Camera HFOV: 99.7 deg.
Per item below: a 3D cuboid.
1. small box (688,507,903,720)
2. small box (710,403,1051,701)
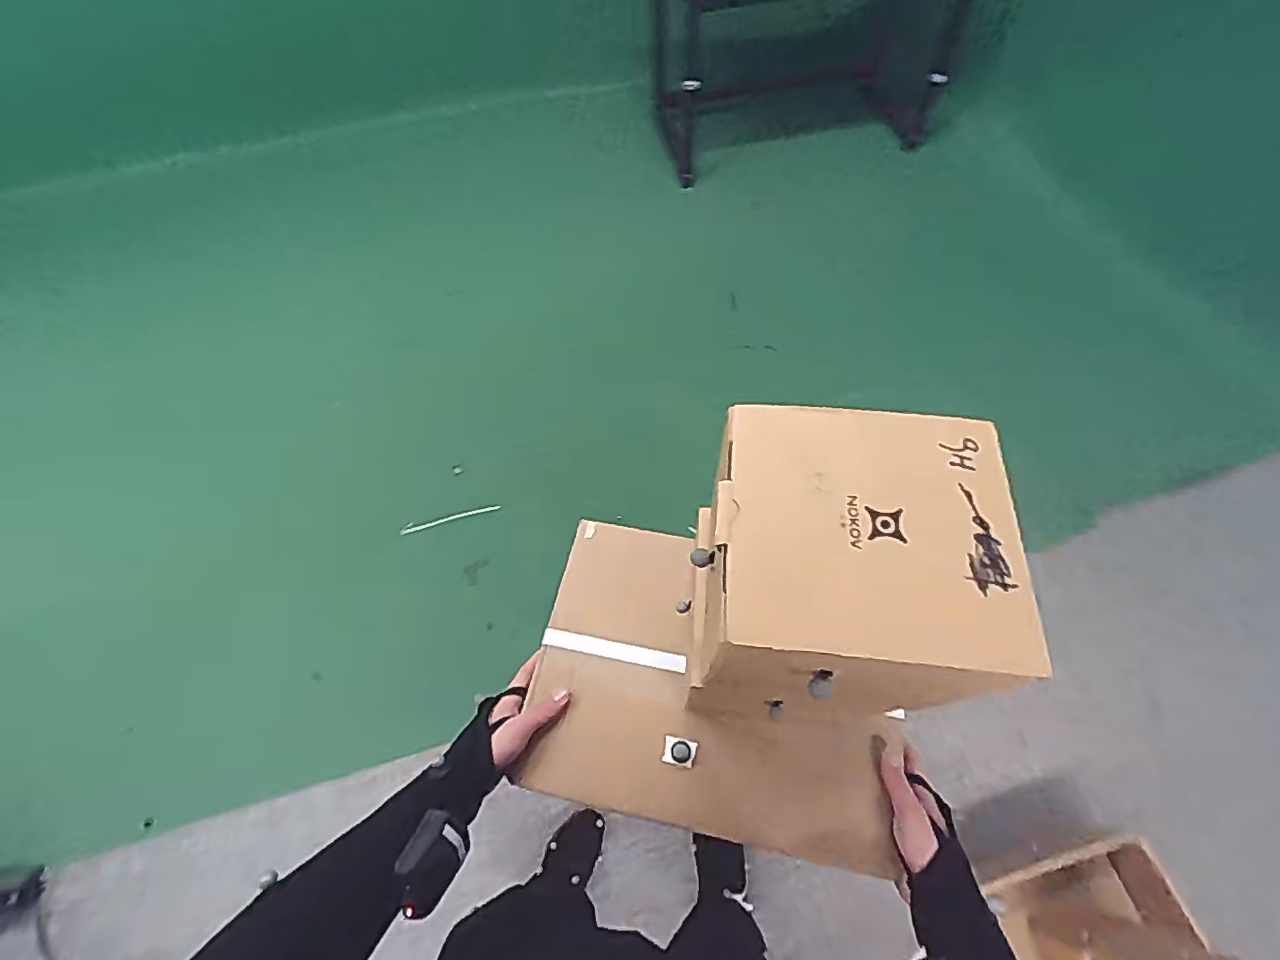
[{"bbox_3d":[0.141,0.141,0.545,0.179,0.176,0.168,4,62,4],"label":"small box"},{"bbox_3d":[0.145,0.062,0.401,0.179,0.176,0.168,4,62,5],"label":"small box"}]
